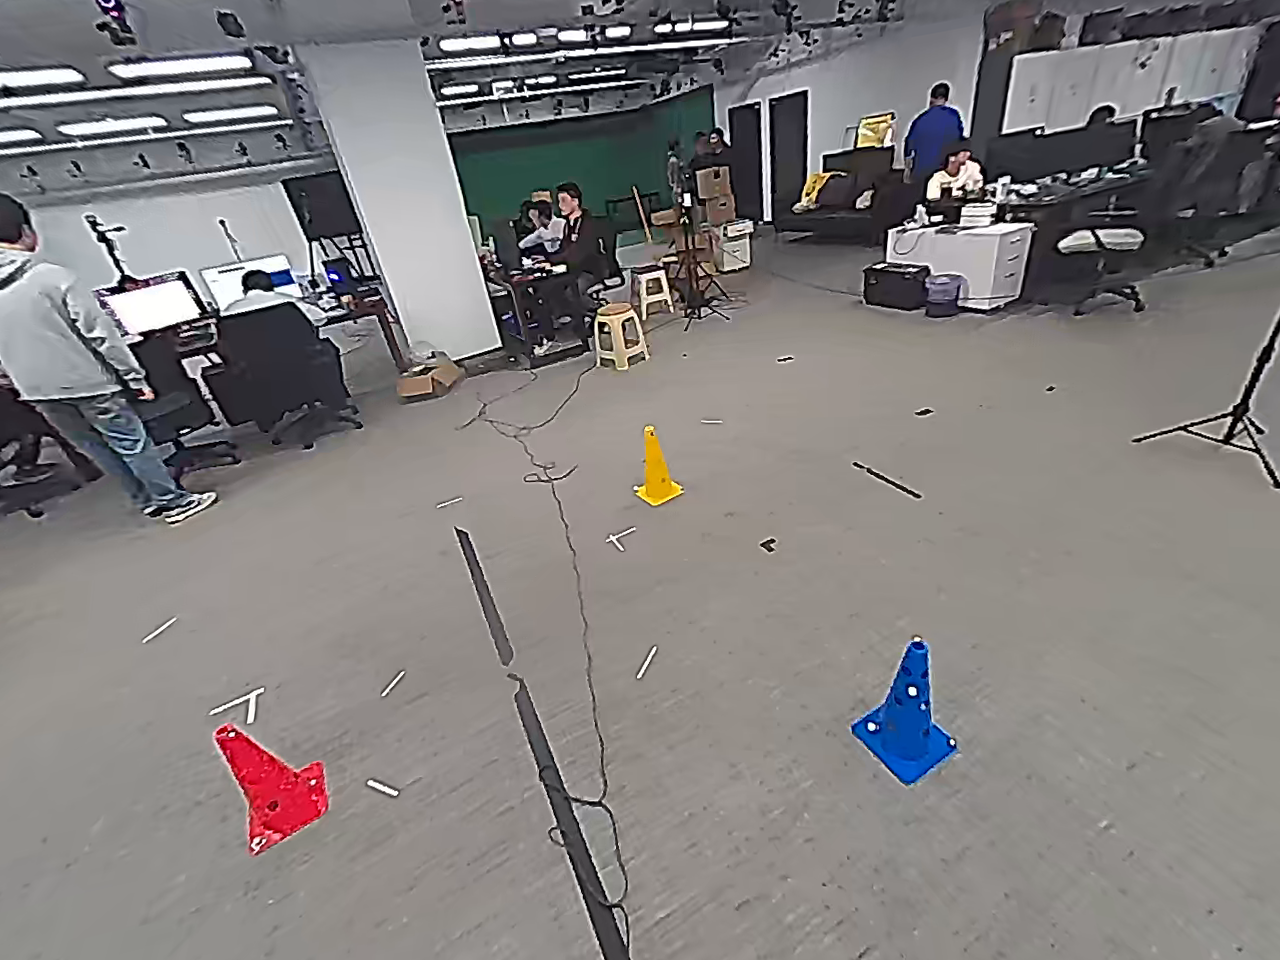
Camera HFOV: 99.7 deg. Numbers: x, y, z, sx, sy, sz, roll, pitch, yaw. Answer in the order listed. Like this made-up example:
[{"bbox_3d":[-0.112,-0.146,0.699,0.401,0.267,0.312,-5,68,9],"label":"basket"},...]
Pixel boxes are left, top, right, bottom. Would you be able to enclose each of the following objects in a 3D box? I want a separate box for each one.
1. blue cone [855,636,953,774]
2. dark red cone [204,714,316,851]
[{"bbox_3d":[0.688,0.548,1.386,0.192,0.380,0.193,-20,31,-19],"label":"blue cone"},{"bbox_3d":[-1.056,0.777,1.457,0.201,0.394,0.202,-25,33,-26],"label":"dark red cone"}]
